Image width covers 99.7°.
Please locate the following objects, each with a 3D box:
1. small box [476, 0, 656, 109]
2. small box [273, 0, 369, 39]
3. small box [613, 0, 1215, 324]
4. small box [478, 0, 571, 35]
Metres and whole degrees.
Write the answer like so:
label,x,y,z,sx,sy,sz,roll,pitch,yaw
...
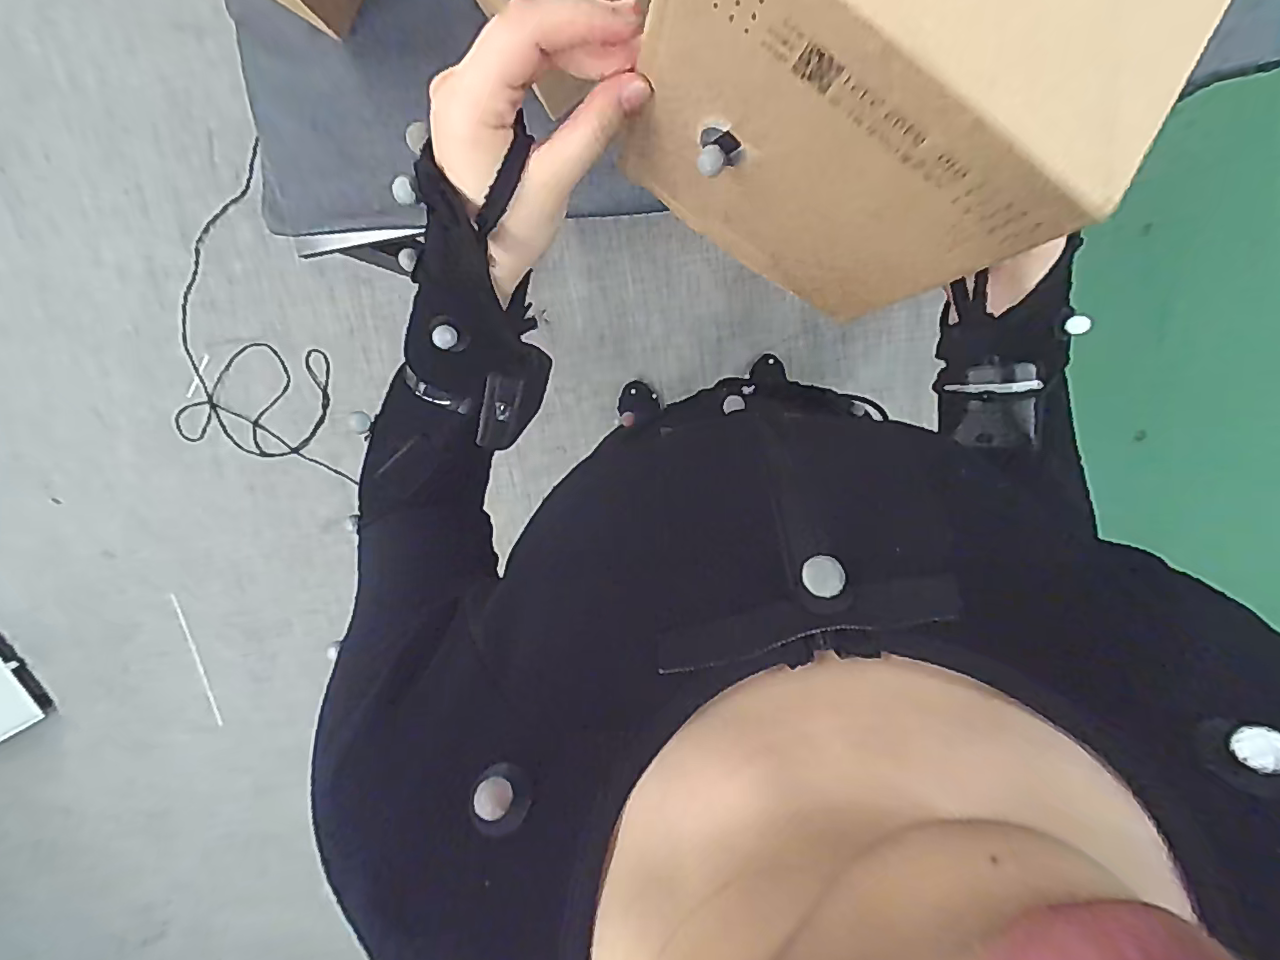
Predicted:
label,x,y,z,sx,sy,sz,roll,pitch,yaw
small box,-0.092,-0.542,0.576,0.168,0.176,0.179,-33,96,9
small box,-0.405,-0.640,0.585,0.179,0.176,0.168,32,102,-2
small box,0.108,-0.201,0.242,0.168,0.176,0.179,32,91,-13
small box,-0.110,-0.505,0.419,0.168,0.176,0.179,-44,94,11
